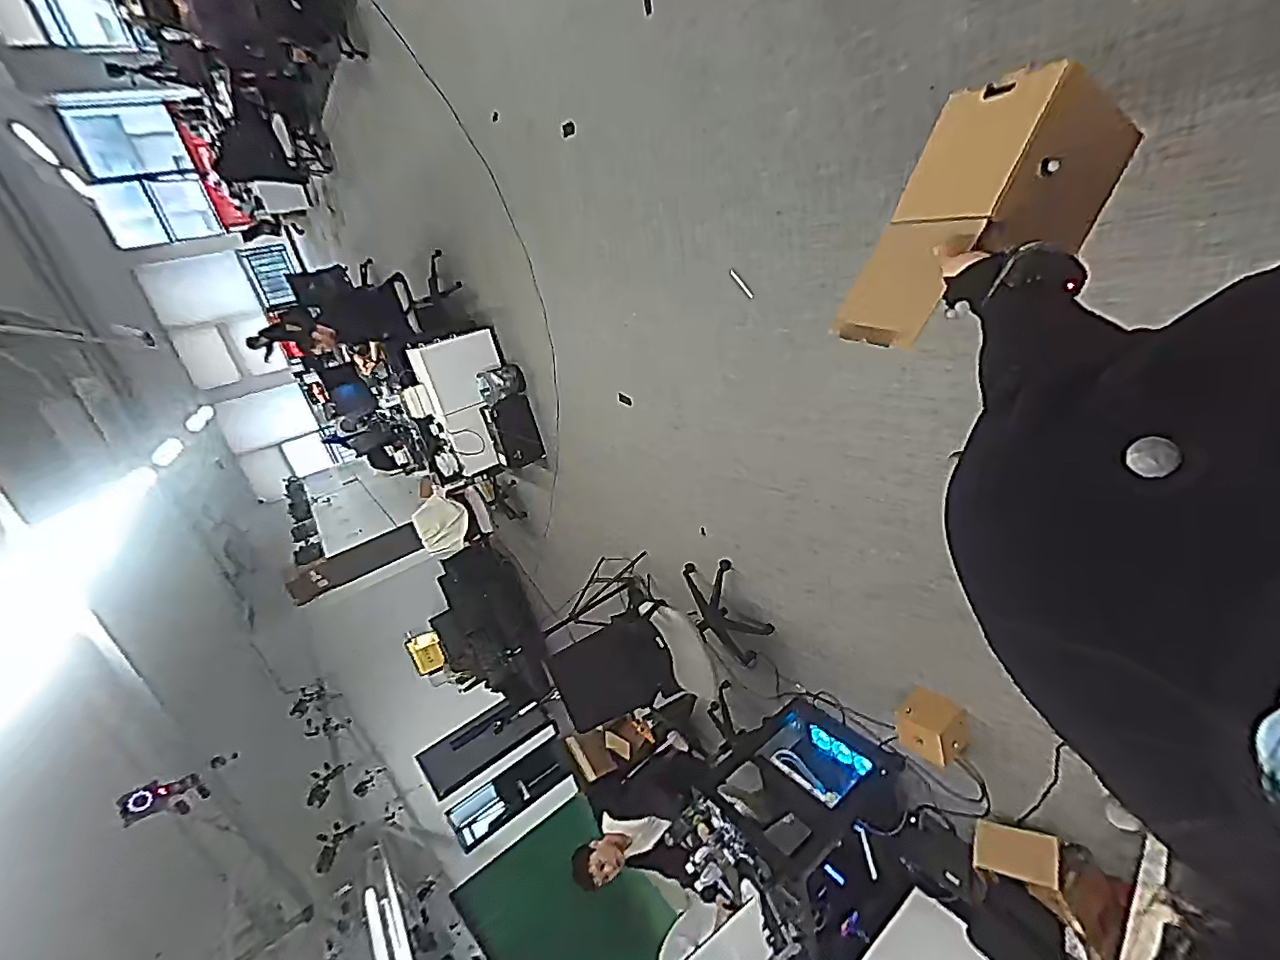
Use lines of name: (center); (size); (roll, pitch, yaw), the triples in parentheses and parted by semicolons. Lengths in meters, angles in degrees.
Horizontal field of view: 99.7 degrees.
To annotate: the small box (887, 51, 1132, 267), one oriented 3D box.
small box: (0.472, -0.392, 0.699); (0.179, 0.176, 0.168); (-68, 27, 15)
